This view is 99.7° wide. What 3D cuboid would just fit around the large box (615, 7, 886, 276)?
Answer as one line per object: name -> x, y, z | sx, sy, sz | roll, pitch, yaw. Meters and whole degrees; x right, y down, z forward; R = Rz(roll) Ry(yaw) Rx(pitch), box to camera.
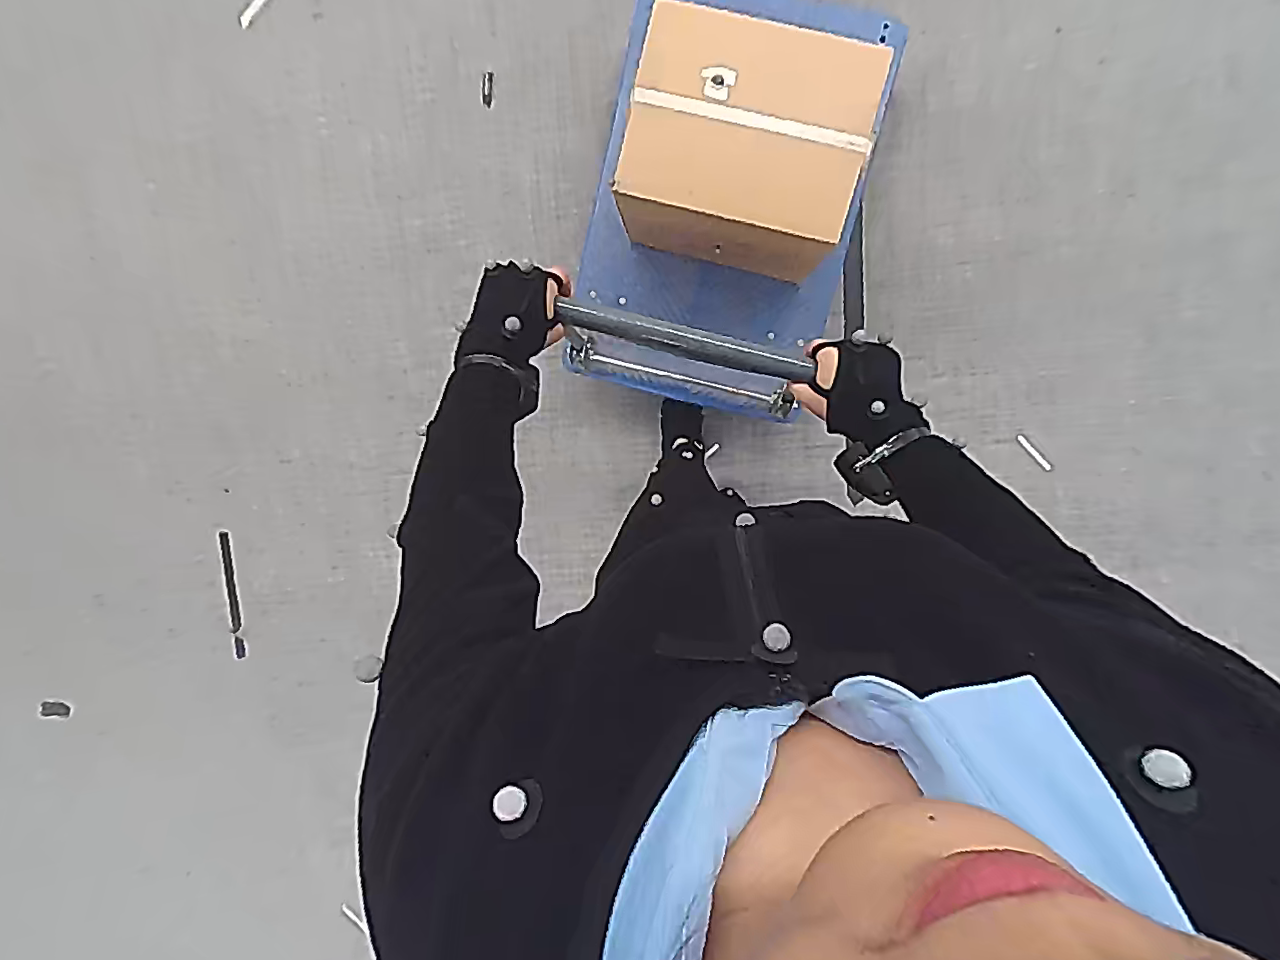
large box -> 0.198, -0.630, 1.071 | 0.408, 0.320, 0.320 | 15, 98, 4
